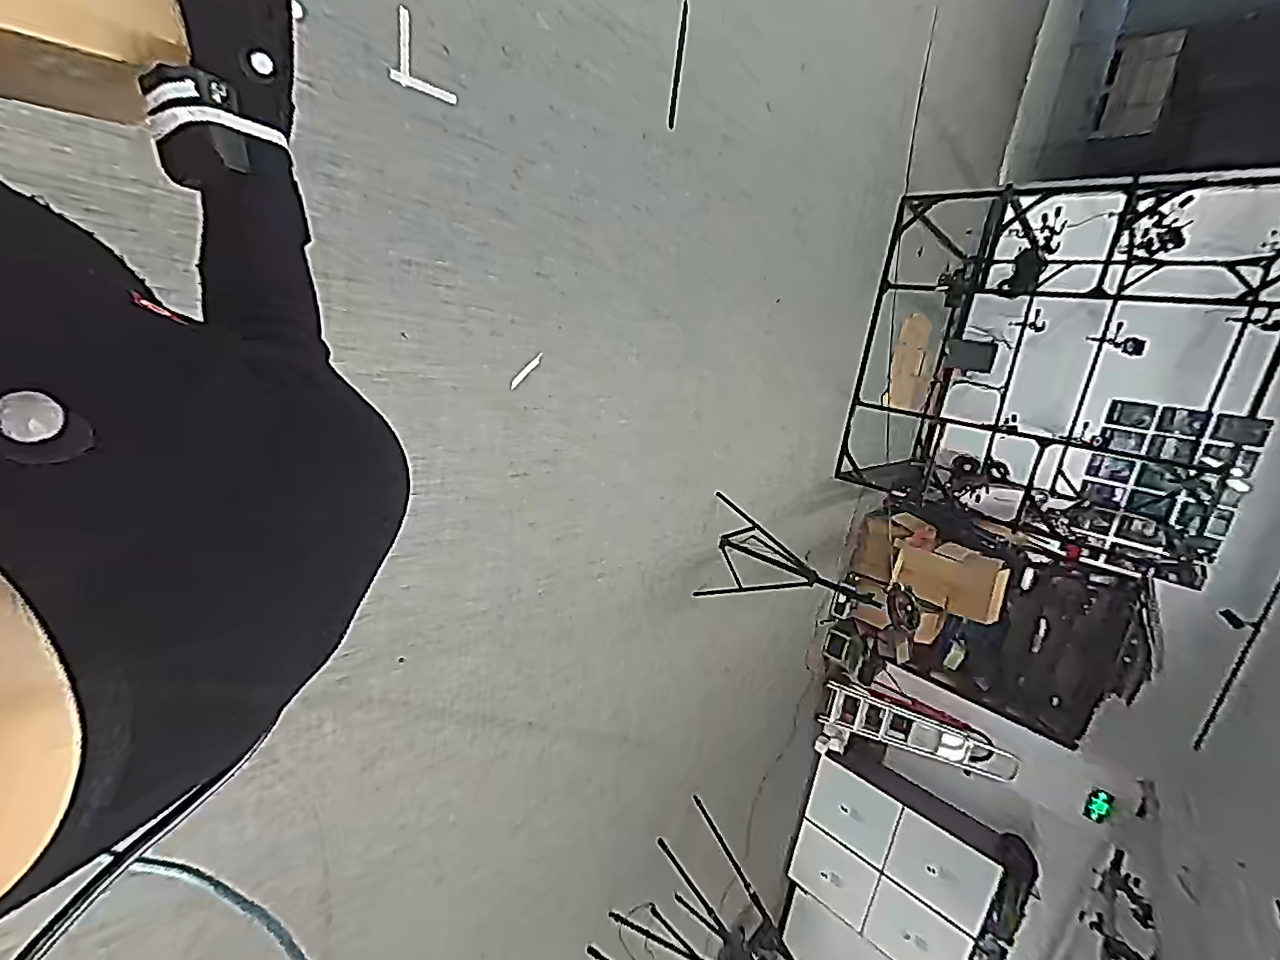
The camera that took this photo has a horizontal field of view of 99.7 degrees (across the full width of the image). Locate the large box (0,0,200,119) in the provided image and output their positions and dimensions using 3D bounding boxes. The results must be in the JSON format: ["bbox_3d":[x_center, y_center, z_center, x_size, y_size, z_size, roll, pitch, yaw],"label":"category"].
[{"bbox_3d":[-0.559,-0.450,0.302,0.408,0.320,0.320,-16,119,-47],"label":"large box"}]
